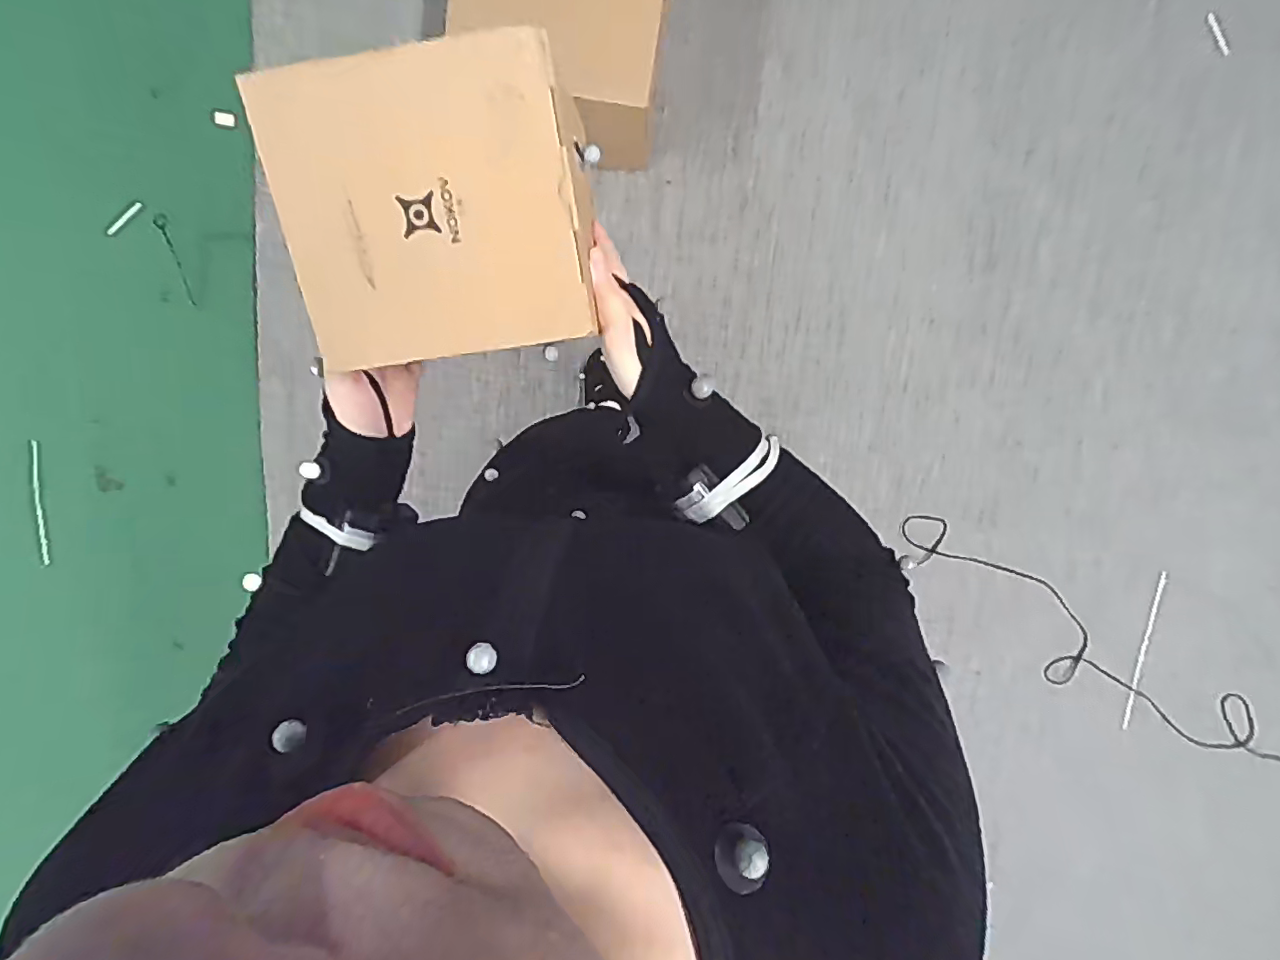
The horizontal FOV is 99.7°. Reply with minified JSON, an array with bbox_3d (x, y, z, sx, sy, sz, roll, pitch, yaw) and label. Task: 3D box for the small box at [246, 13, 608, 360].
[{"bbox_3d":[-0.119,-0.186,0.389,0.179,0.176,0.168,-7,107,3],"label":"small box"}]
